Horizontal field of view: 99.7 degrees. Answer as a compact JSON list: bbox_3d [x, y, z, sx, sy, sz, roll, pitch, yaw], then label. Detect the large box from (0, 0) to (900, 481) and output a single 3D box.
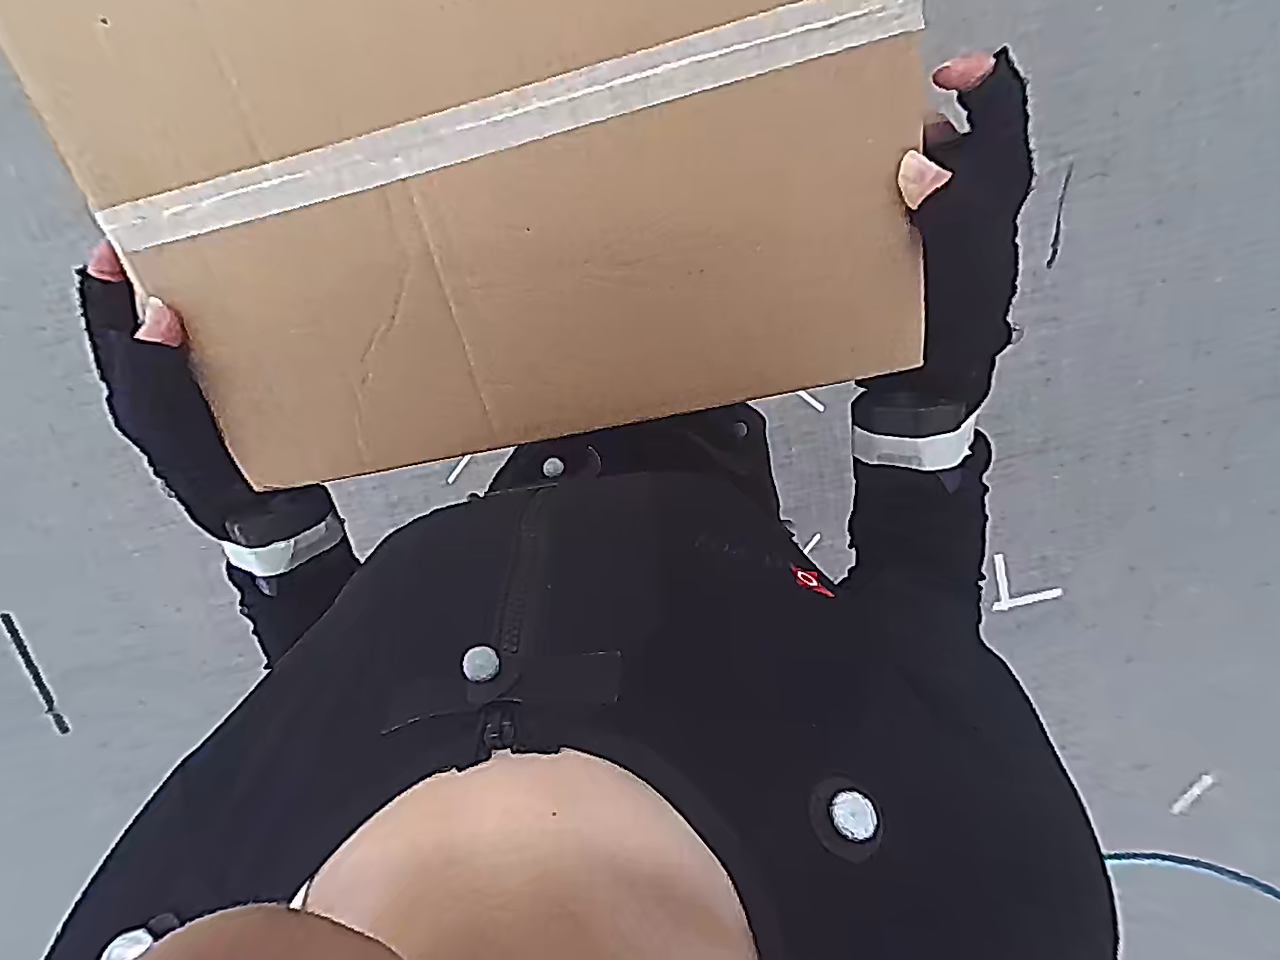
[{"bbox_3d":[-0.074,-0.234,0.398,0.408,0.320,0.320,-10,113,8],"label":"large box"}]
